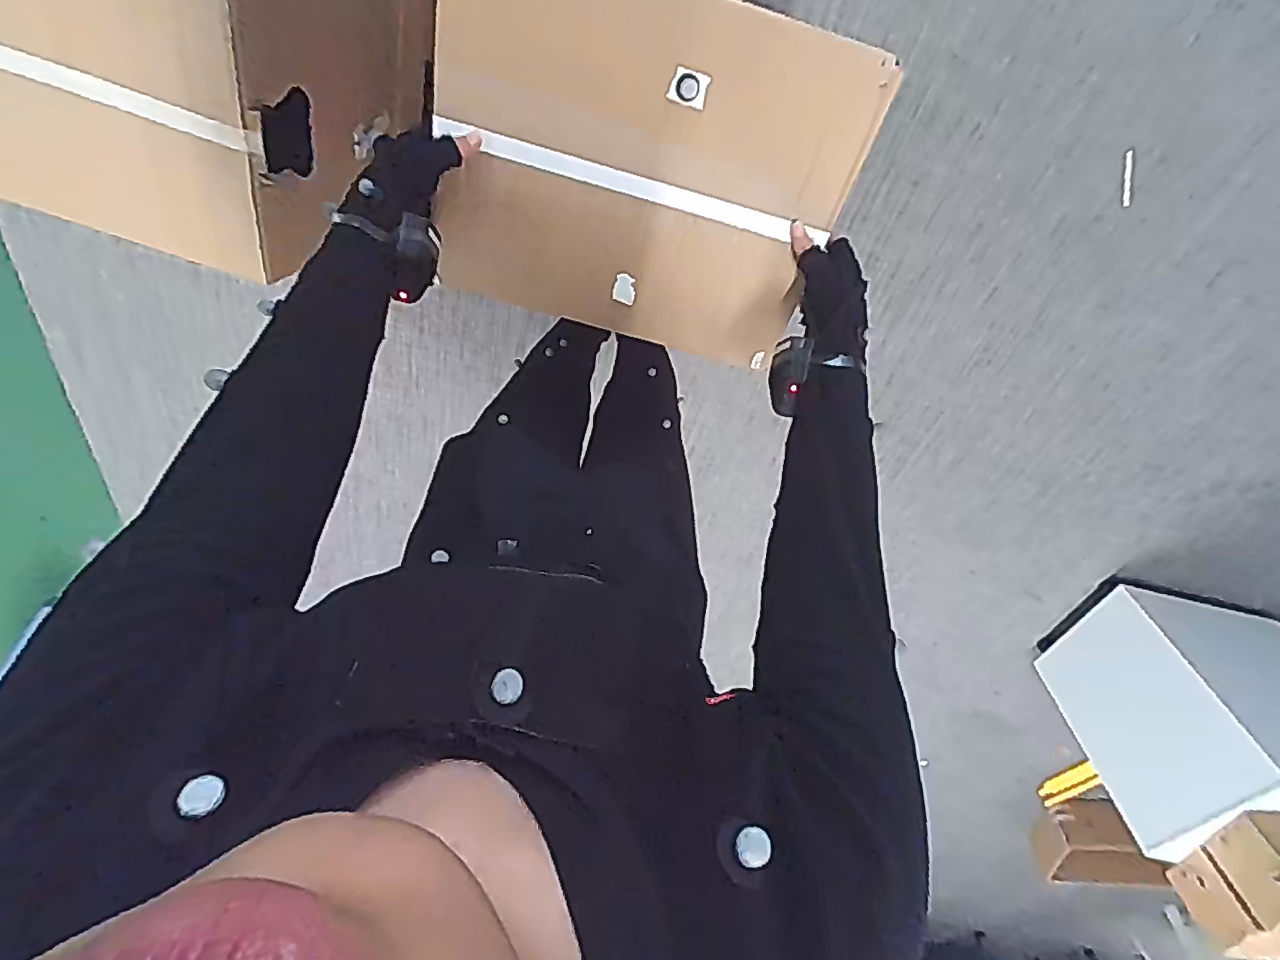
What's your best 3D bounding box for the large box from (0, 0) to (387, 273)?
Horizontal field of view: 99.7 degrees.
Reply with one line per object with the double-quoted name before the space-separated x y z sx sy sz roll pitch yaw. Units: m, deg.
"large box" -0.572 -0.507 0.650 0.408 0.320 0.320 18 129 -6
